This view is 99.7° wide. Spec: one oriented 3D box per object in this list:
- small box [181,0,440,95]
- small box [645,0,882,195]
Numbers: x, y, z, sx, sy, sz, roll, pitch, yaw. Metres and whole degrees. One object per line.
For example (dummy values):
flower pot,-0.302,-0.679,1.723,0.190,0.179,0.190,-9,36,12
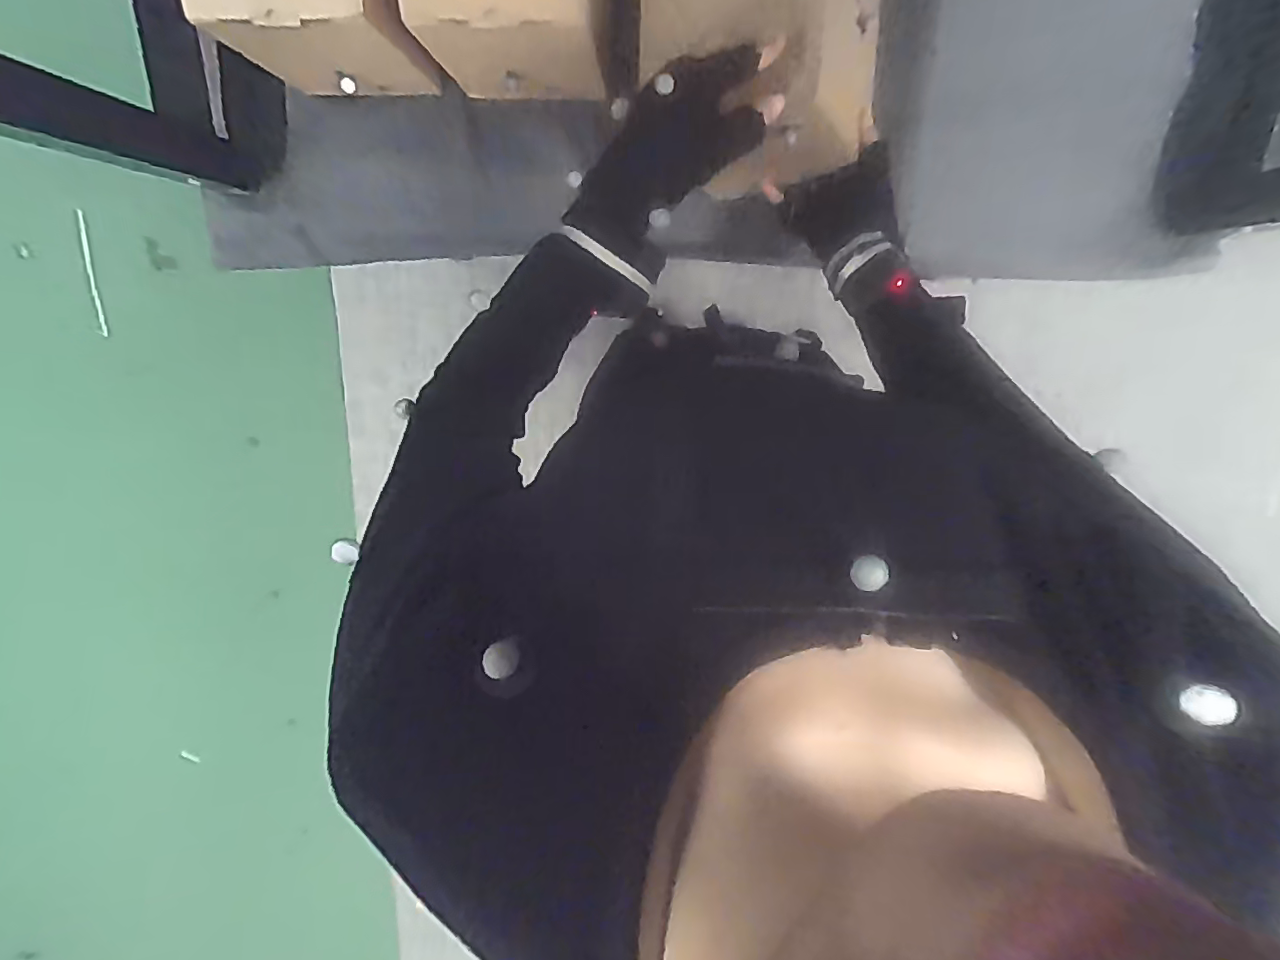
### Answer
small box,-0.310,-0.508,0.522,0.168,0.176,0.179,2,107,3
small box,0.115,-0.389,0.493,0.168,0.176,0.179,7,103,32
